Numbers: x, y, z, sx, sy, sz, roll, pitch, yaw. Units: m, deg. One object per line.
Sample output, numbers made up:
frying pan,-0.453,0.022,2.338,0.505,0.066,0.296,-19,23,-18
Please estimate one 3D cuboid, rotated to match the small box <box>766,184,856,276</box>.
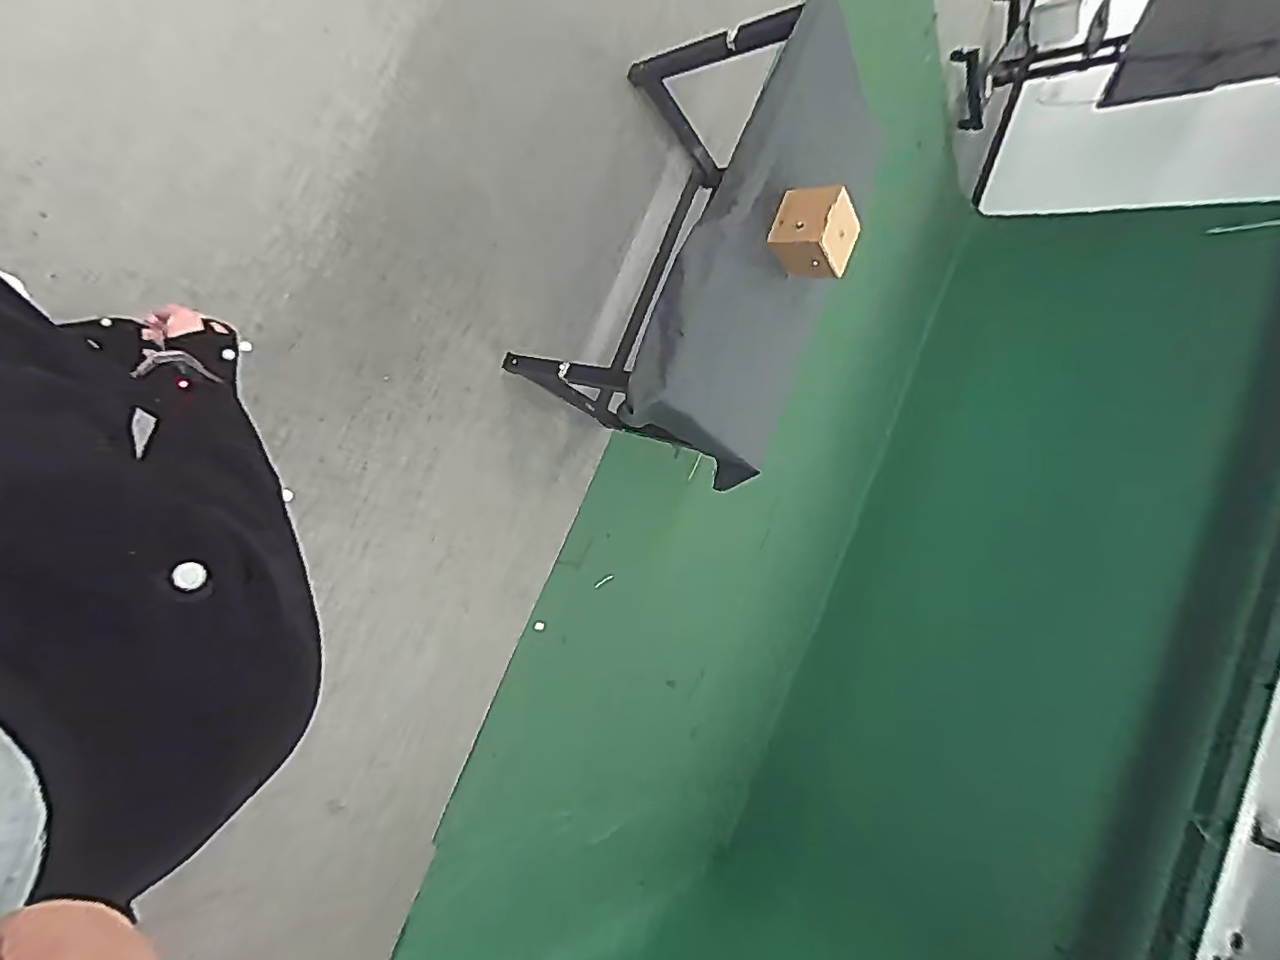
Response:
small box,0.478,-0.696,1.519,0.179,0.176,0.168,27,85,-51
